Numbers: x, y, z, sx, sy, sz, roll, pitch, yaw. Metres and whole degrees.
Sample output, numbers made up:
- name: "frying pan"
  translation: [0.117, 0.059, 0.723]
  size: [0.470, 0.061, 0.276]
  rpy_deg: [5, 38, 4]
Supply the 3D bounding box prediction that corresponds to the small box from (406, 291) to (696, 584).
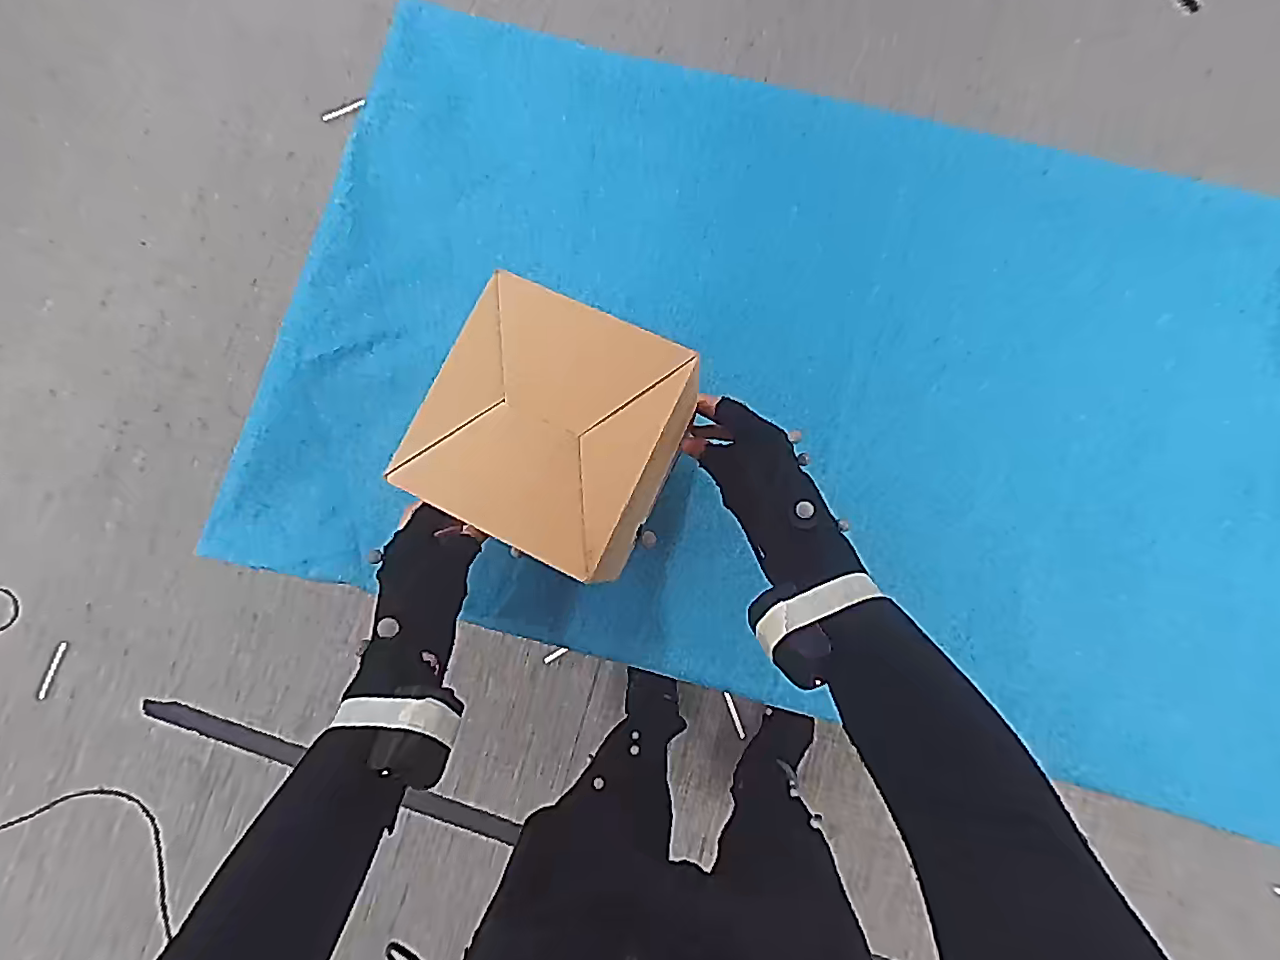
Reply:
- name: "small box"
  translation: [-0.061, -0.024, 0.461]
  size: [0.168, 0.176, 0.179]
  rpy_deg: [25, 83, 8]
